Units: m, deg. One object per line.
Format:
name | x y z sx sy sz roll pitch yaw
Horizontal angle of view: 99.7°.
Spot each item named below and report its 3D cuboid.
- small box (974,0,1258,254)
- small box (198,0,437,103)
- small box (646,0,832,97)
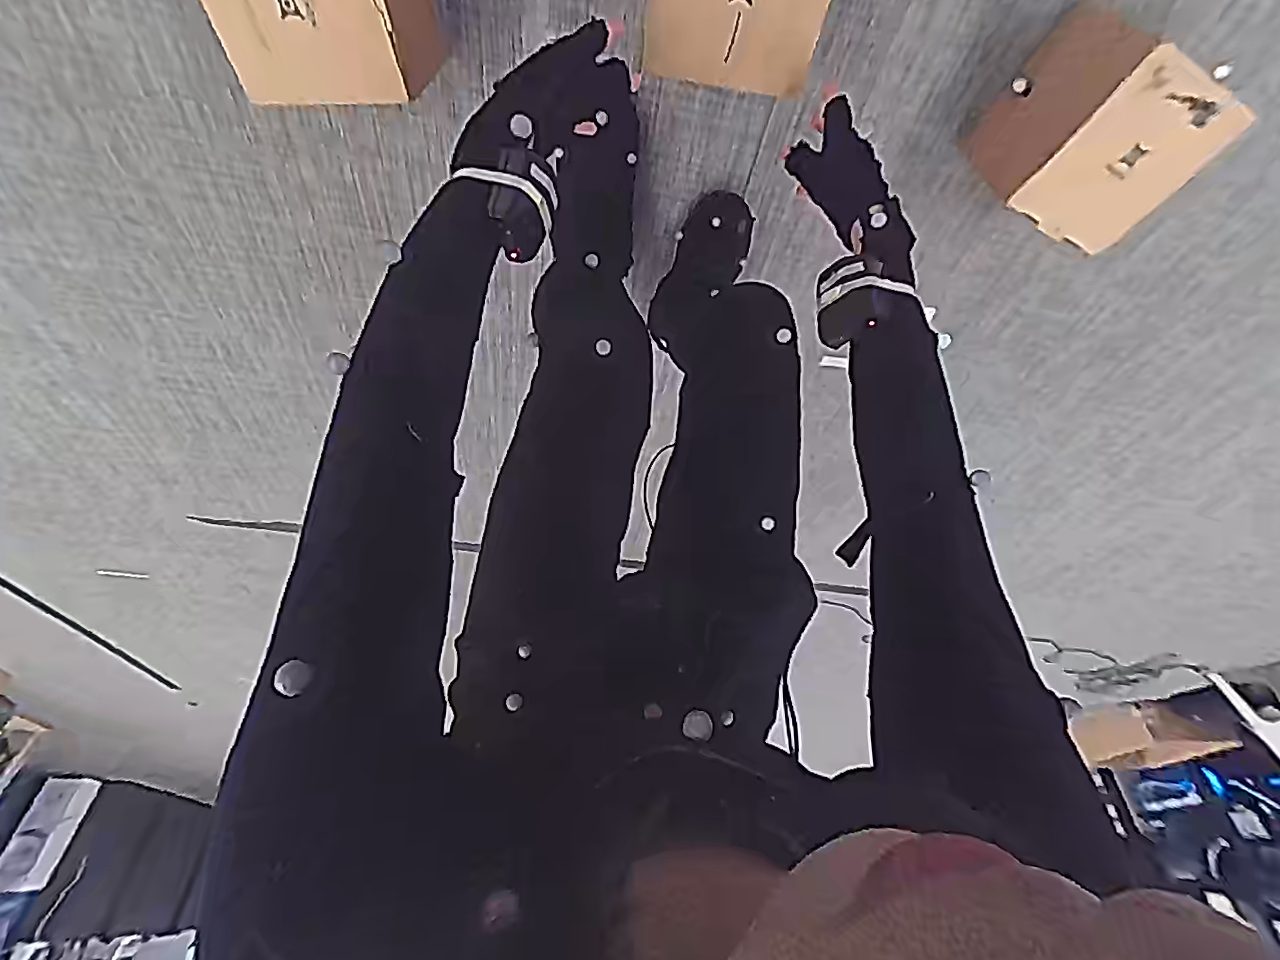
small box | 0.540 -0.418 0.649 0.168 0.176 0.179 16 140 -19
small box | -0.326 -0.510 0.555 0.179 0.176 0.168 0 140 2
small box | 0.098 -0.518 0.530 0.168 0.176 0.179 6 142 -6
